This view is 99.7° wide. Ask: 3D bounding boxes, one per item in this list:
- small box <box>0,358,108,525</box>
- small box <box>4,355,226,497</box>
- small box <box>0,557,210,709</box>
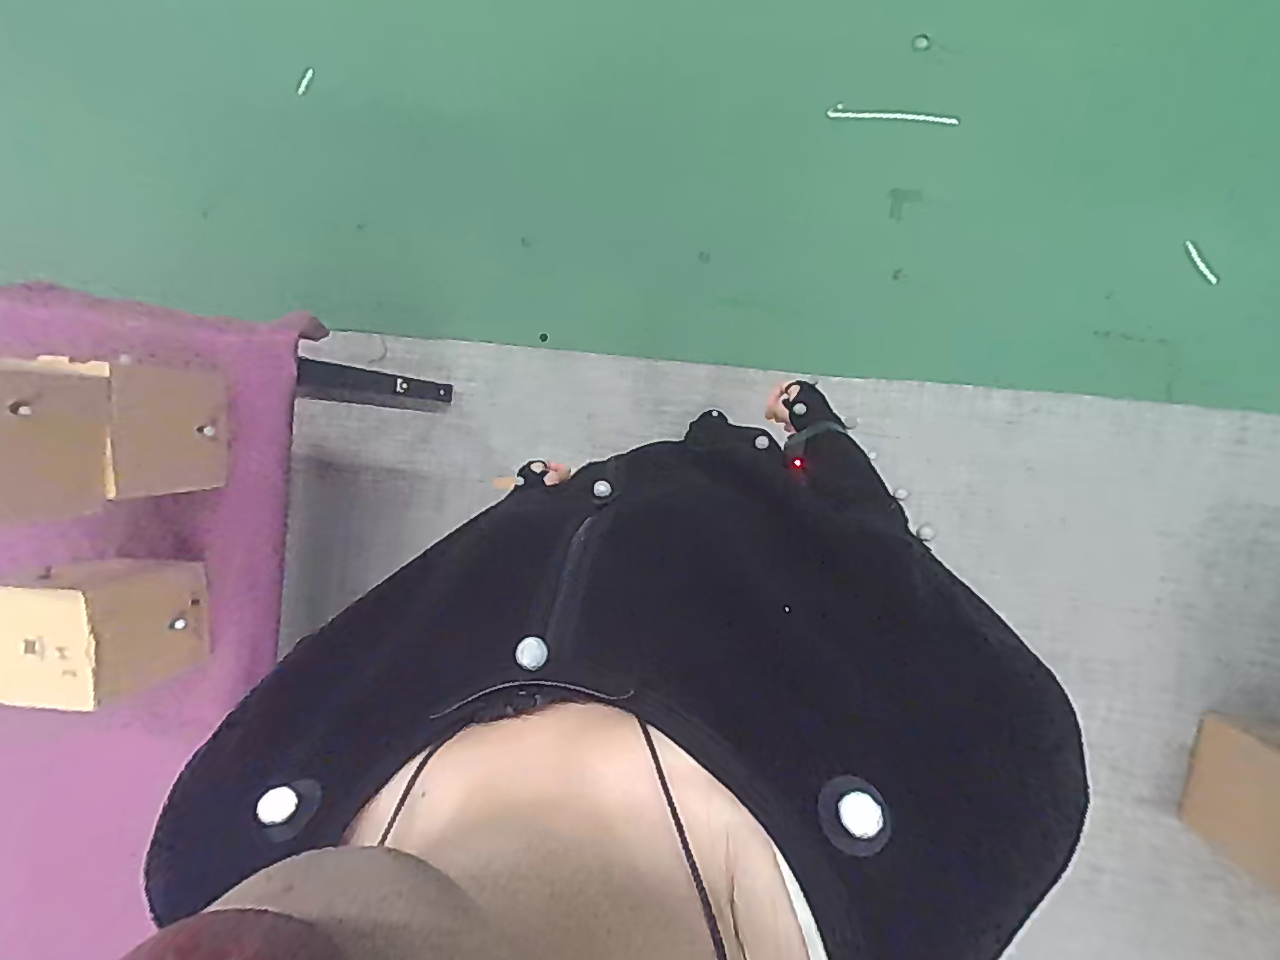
[{"bbox_3d":[-0.762,-0.051,0.612,0.168,0.176,0.179,10,97,6],"label":"small box"},{"bbox_3d":[-0.733,-0.075,0.772,0.168,0.176,0.179,3,95,7],"label":"small box"},{"bbox_3d":[-0.792,0.215,0.803,0.179,0.176,0.168,1,95,8],"label":"small box"}]
